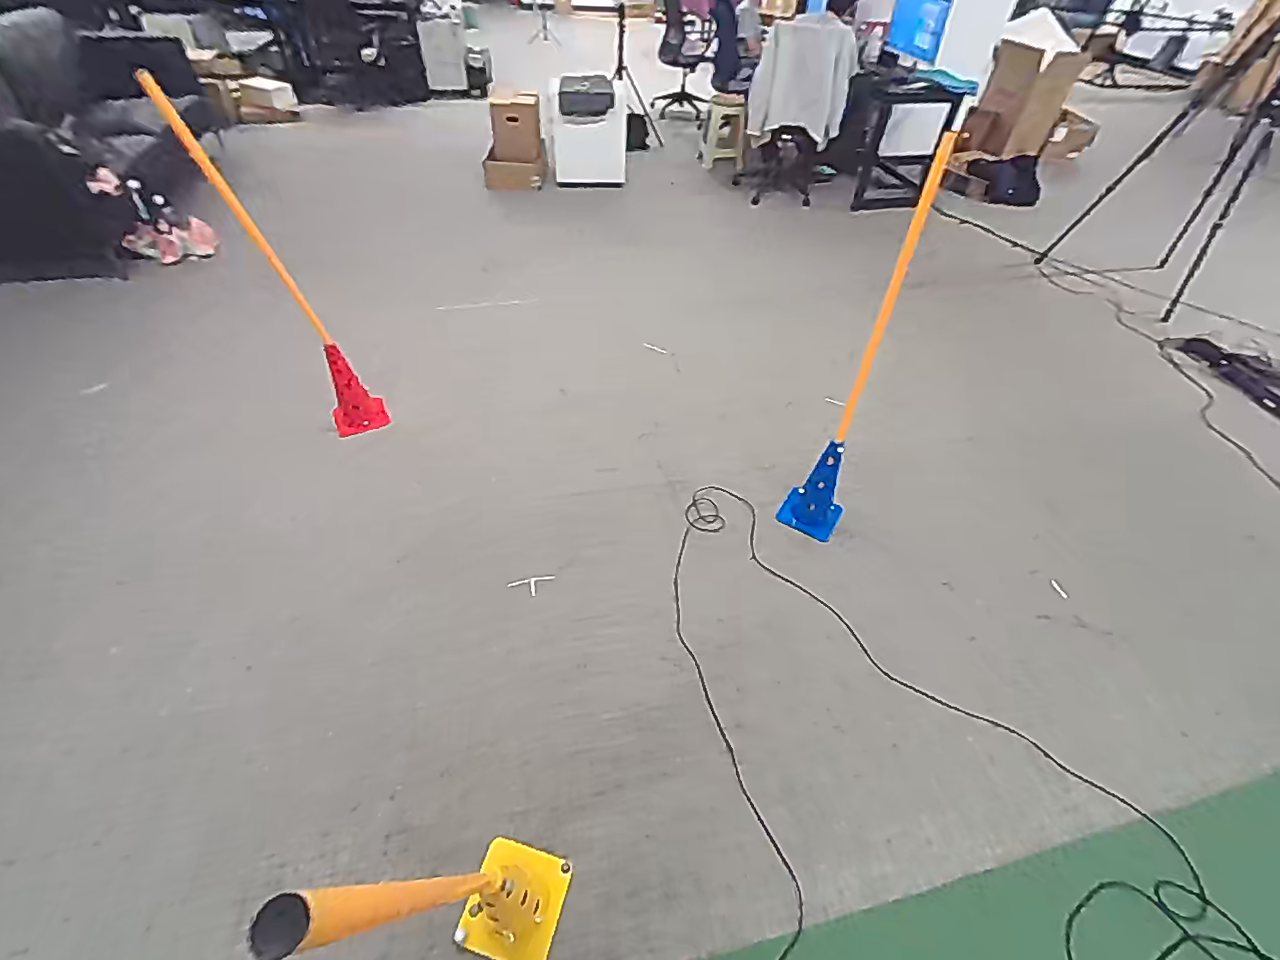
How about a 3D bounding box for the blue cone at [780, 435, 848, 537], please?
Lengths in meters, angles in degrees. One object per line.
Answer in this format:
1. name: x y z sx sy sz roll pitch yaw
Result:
1. blue cone: 0.626 -0.002 1.850 0.192 0.380 0.193 25 48 20
